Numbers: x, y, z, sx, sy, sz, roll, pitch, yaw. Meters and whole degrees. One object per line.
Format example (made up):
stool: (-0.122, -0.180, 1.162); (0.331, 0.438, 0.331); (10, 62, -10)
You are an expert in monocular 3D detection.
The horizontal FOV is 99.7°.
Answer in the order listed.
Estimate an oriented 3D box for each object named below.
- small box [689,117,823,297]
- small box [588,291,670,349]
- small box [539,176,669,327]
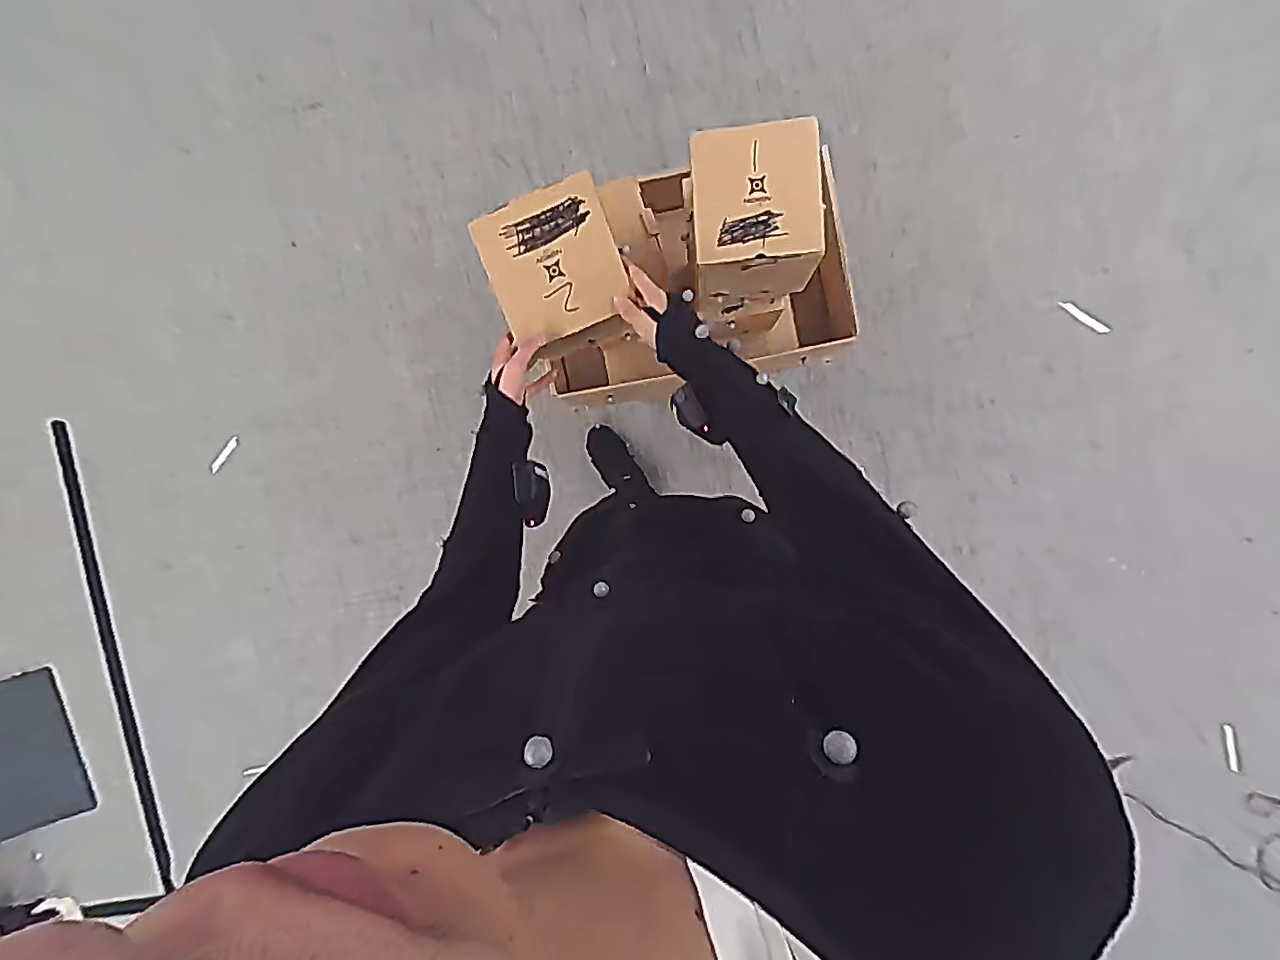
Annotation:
small box: (0.160, -0.373, 0.776); (0.168, 0.176, 0.179); (-4, 92, 7)
small box: (-0.042, -0.392, 1.119); (0.168, 0.176, 0.179); (-19, 92, 4)
small box: (-0.056, -0.390, 0.956); (0.179, 0.176, 0.168); (-20, 91, 4)
